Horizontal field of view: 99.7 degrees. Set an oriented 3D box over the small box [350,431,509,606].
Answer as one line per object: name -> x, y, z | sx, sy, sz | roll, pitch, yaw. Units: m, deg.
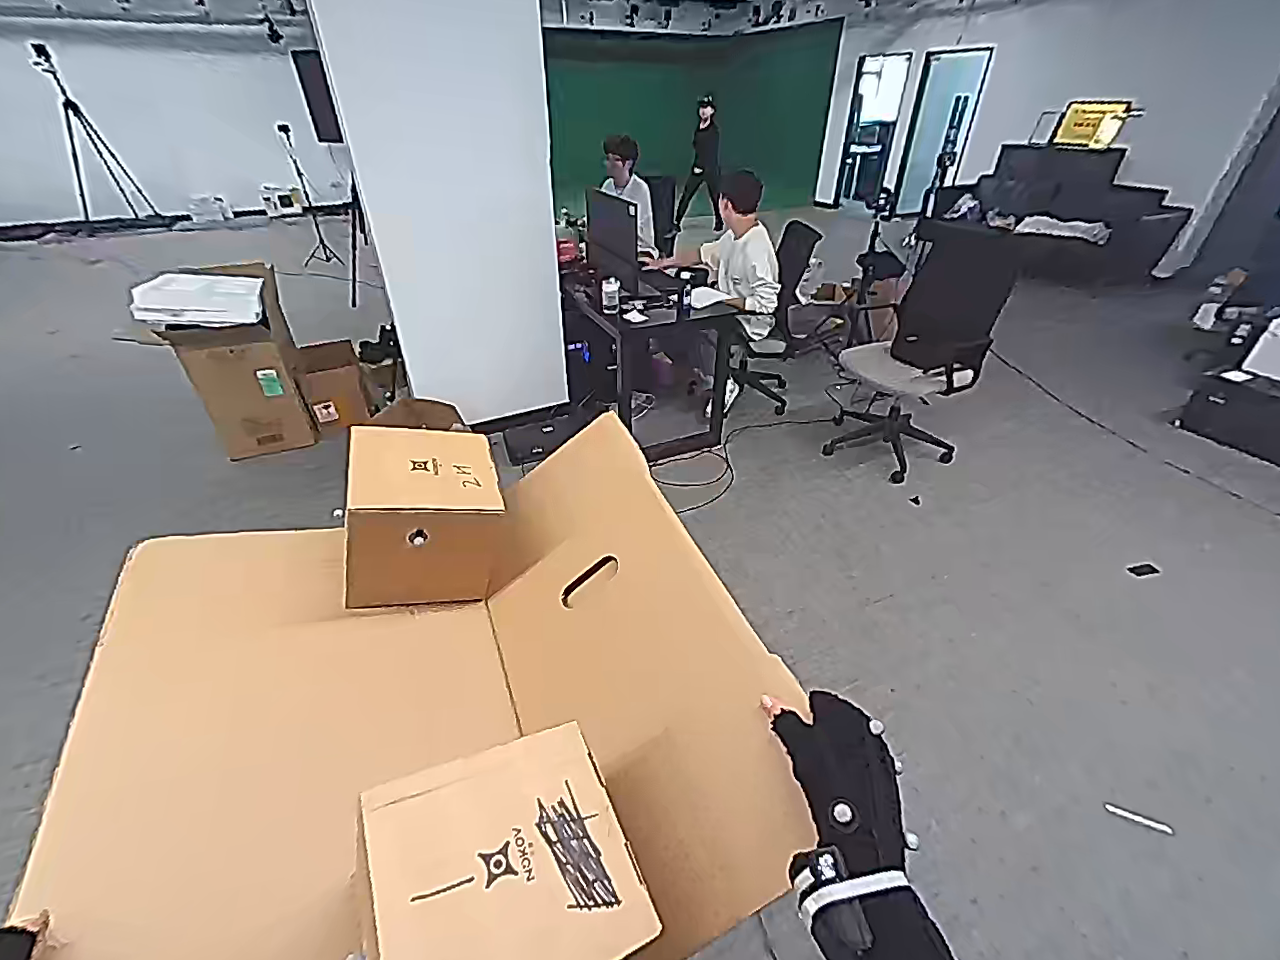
small box -> -0.288, 0.054, 0.729 | 0.179, 0.176, 0.168 | 4, 37, -27
